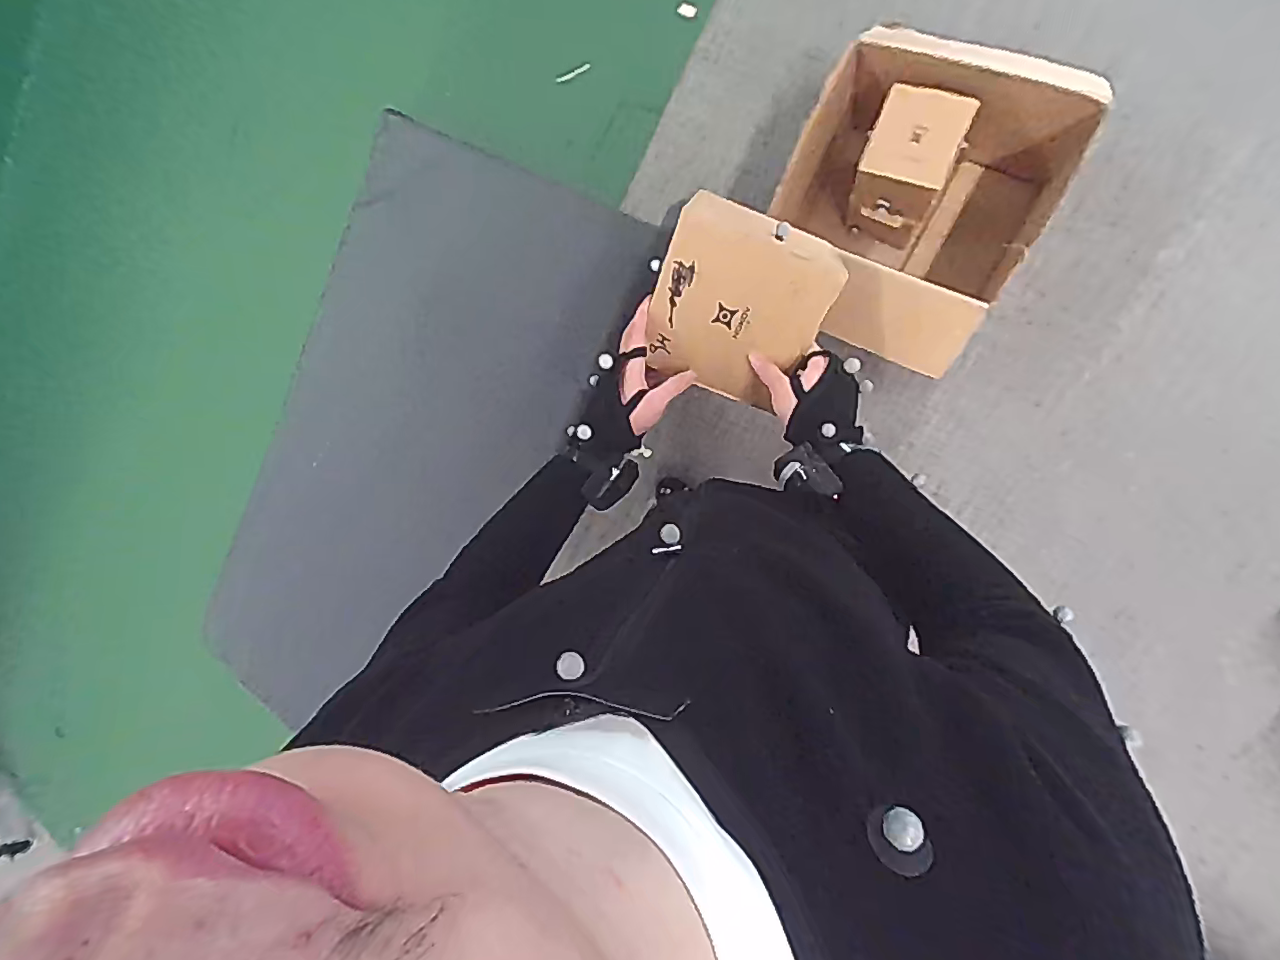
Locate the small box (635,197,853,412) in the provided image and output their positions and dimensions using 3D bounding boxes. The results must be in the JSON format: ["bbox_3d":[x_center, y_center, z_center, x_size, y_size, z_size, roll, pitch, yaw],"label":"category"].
[{"bbox_3d":[0.114,-0.210,0.627,0.179,0.176,0.168,22,123,-3],"label":"small box"}]

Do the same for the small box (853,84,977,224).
[{"bbox_3d":[0.562,-0.674,1.134,0.168,0.176,0.179,23,100,14],"label":"small box"}]
